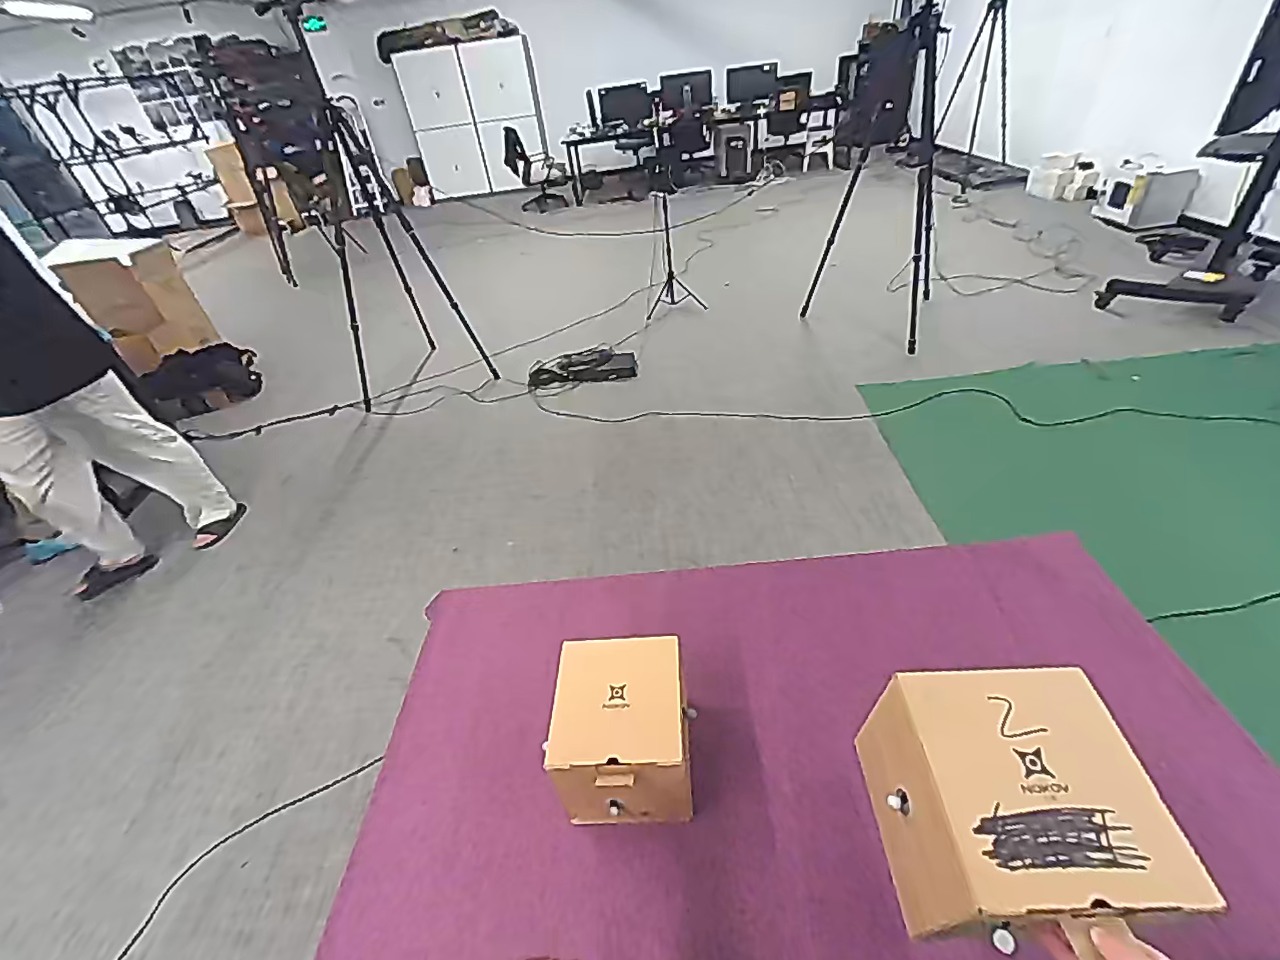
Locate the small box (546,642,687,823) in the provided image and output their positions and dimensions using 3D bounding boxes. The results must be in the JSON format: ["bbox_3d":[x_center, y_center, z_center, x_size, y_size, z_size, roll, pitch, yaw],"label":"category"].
[{"bbox_3d":[-0.022,0.350,0.756,0.168,0.176,0.179,-4,39,5],"label":"small box"}]
